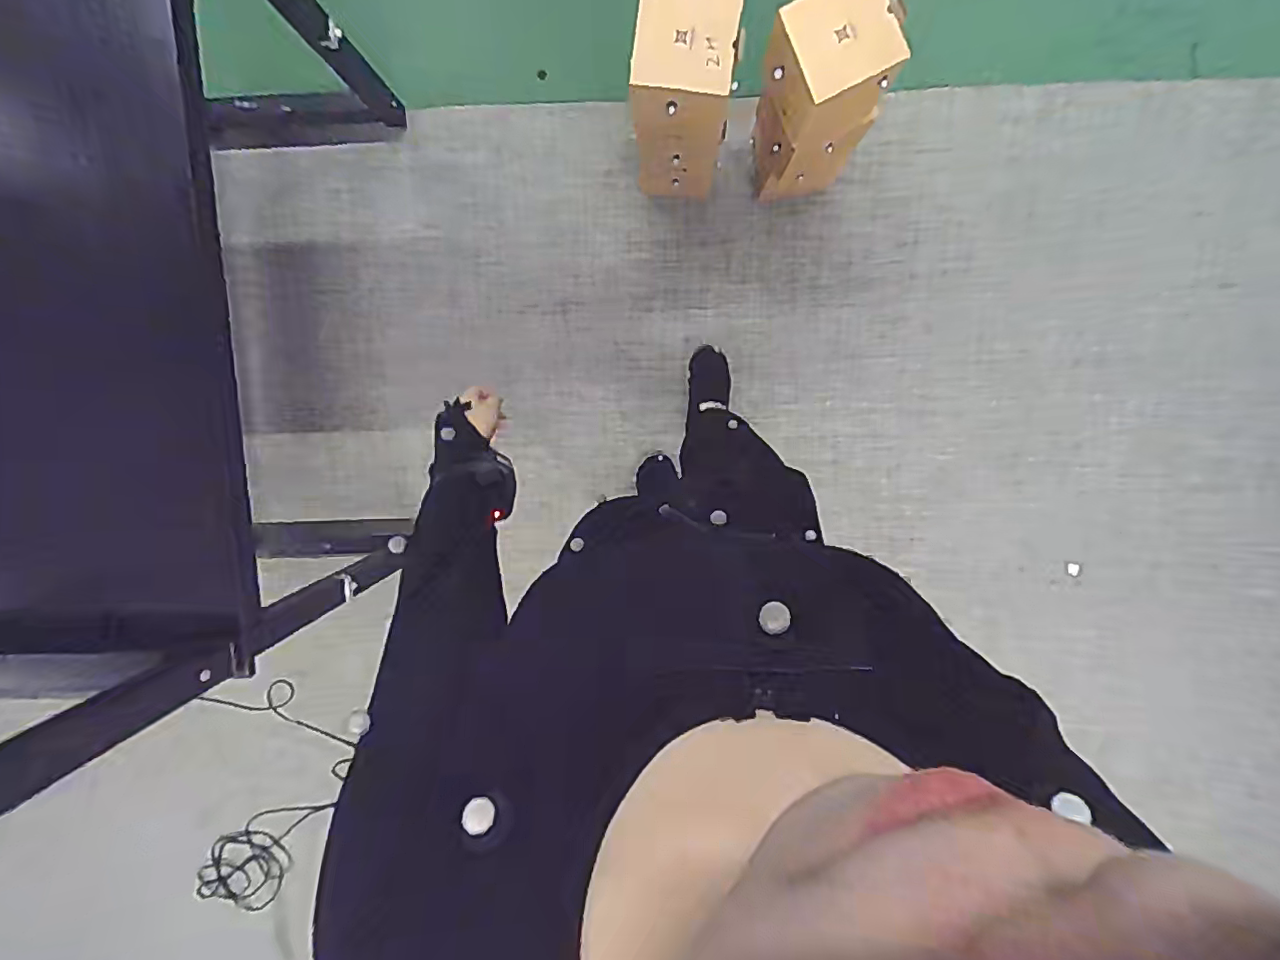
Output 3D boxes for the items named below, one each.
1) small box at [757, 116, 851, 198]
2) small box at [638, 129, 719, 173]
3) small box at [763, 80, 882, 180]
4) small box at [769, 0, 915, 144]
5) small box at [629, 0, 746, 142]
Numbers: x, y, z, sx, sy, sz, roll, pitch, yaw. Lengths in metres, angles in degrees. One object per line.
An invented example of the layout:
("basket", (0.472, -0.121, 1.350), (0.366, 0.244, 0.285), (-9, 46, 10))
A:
("small box", (0.383, -0.797, 1.290), (0.179, 0.176, 0.168), (-8, 97, 3))
("small box", (0.090, -0.774, 1.139), (0.168, 0.176, 0.179), (6, 98, 2))
("small box", (0.368, -0.766, 1.131), (0.179, 0.176, 0.168), (-21, 98, 4))
("small box", (0.346, -0.749, 0.970), (0.179, 0.176, 0.168), (-25, 97, 5))
("small box", (0.083, -0.742, 0.976), (0.179, 0.176, 0.168), (9, 98, 2))
